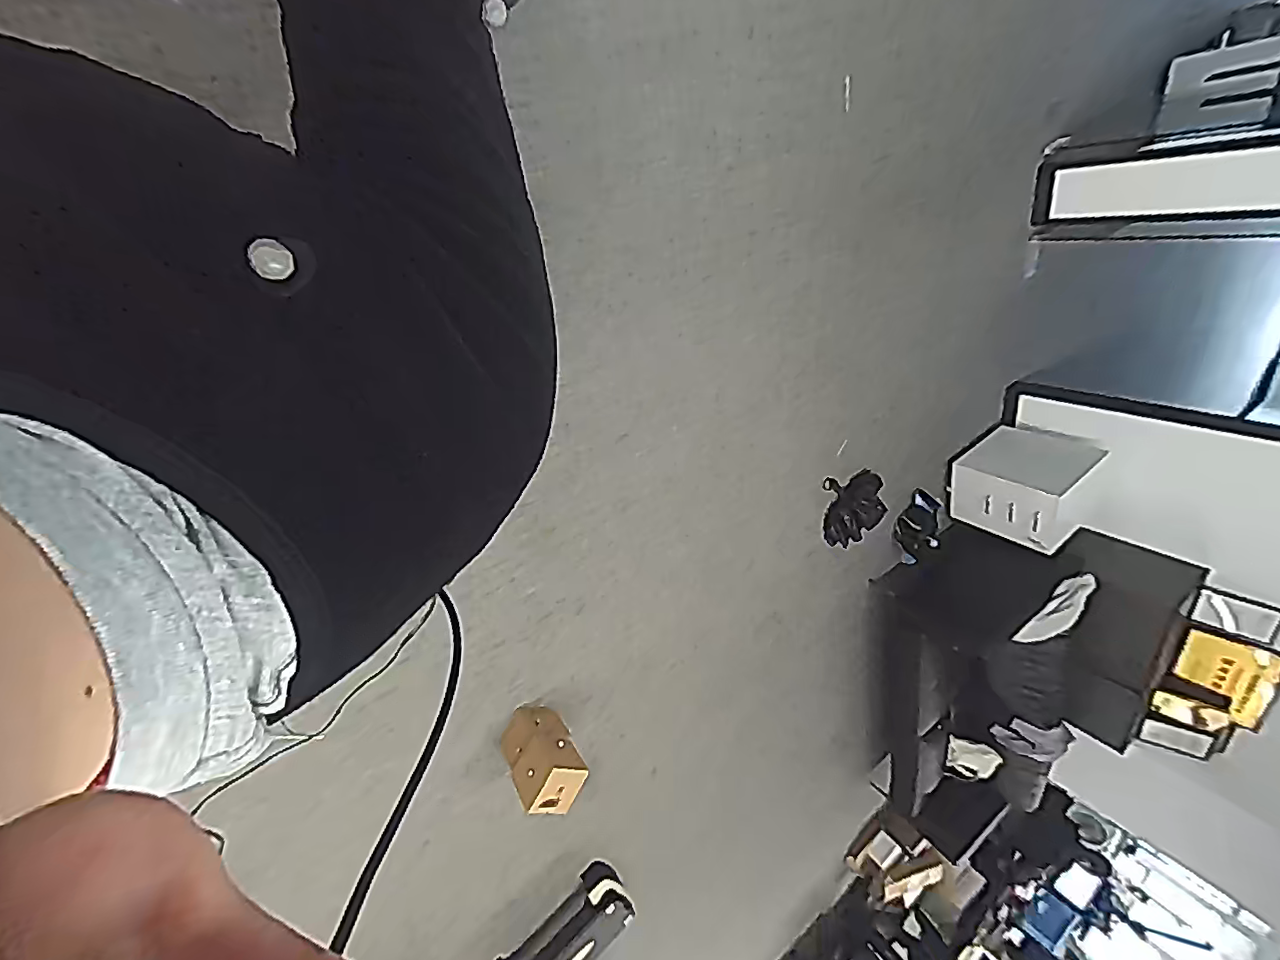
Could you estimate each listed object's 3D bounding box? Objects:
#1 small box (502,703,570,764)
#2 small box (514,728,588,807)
[{"bbox_3d":[-0.398,0.960,2.030,0.168,0.176,0.179,19,98,-39],"label":"small box"},{"bbox_3d":[-0.319,1.006,1.892,0.168,0.176,0.179,29,90,-40],"label":"small box"}]
